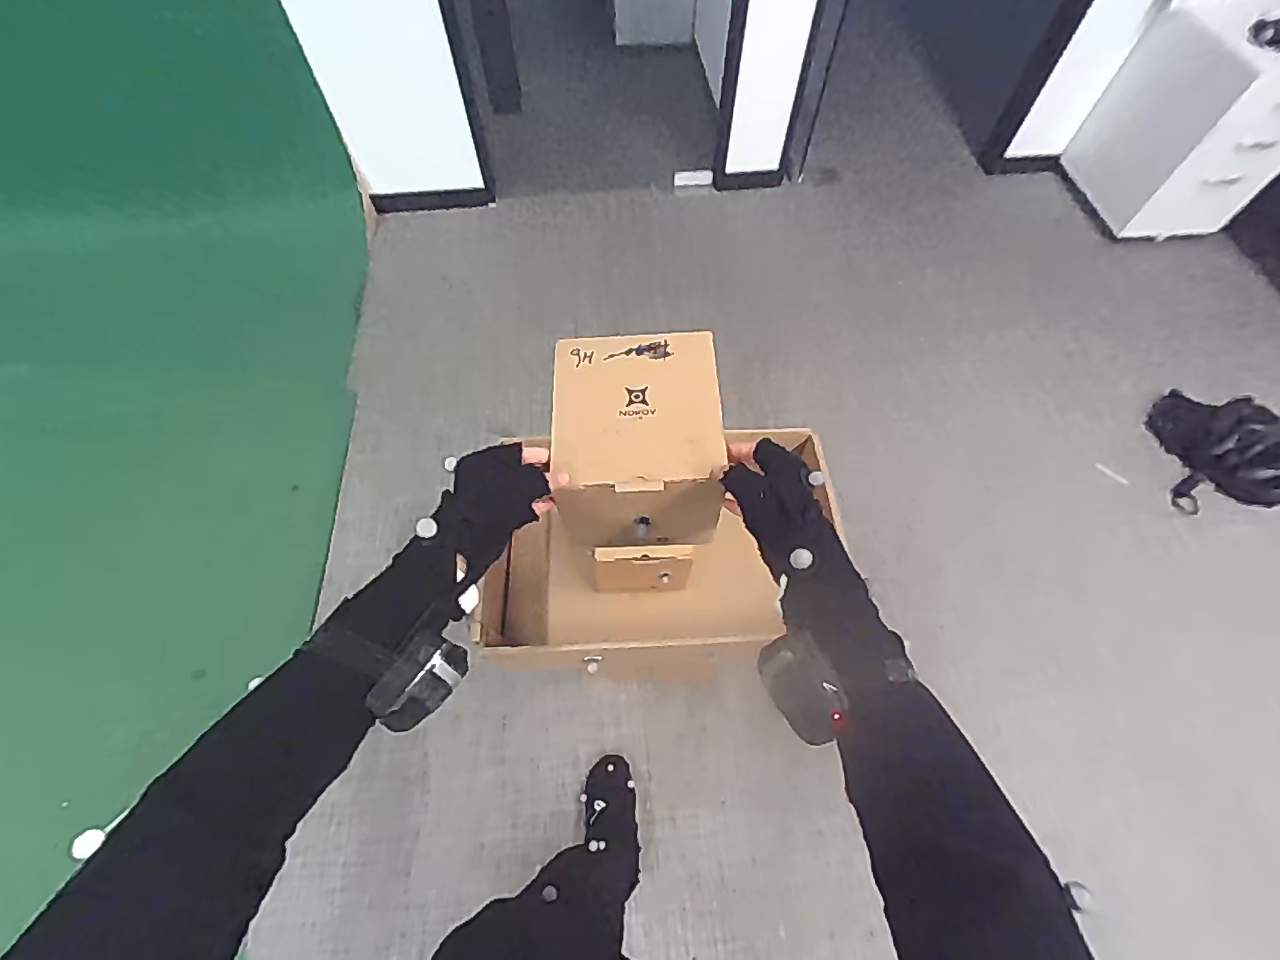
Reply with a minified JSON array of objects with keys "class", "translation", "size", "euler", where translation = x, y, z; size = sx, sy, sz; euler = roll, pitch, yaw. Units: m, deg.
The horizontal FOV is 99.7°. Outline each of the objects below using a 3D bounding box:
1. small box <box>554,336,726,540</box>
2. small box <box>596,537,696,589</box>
[{"class":"small box","translation":[0.004,-0.036,0.610],"size":[0.168,0.176,0.179],"euler":[-2,64,2]},{"class":"small box","translation":[0.005,0.094,0.988],"size":[0.168,0.176,0.179],"euler":[-1,59,-4]}]
